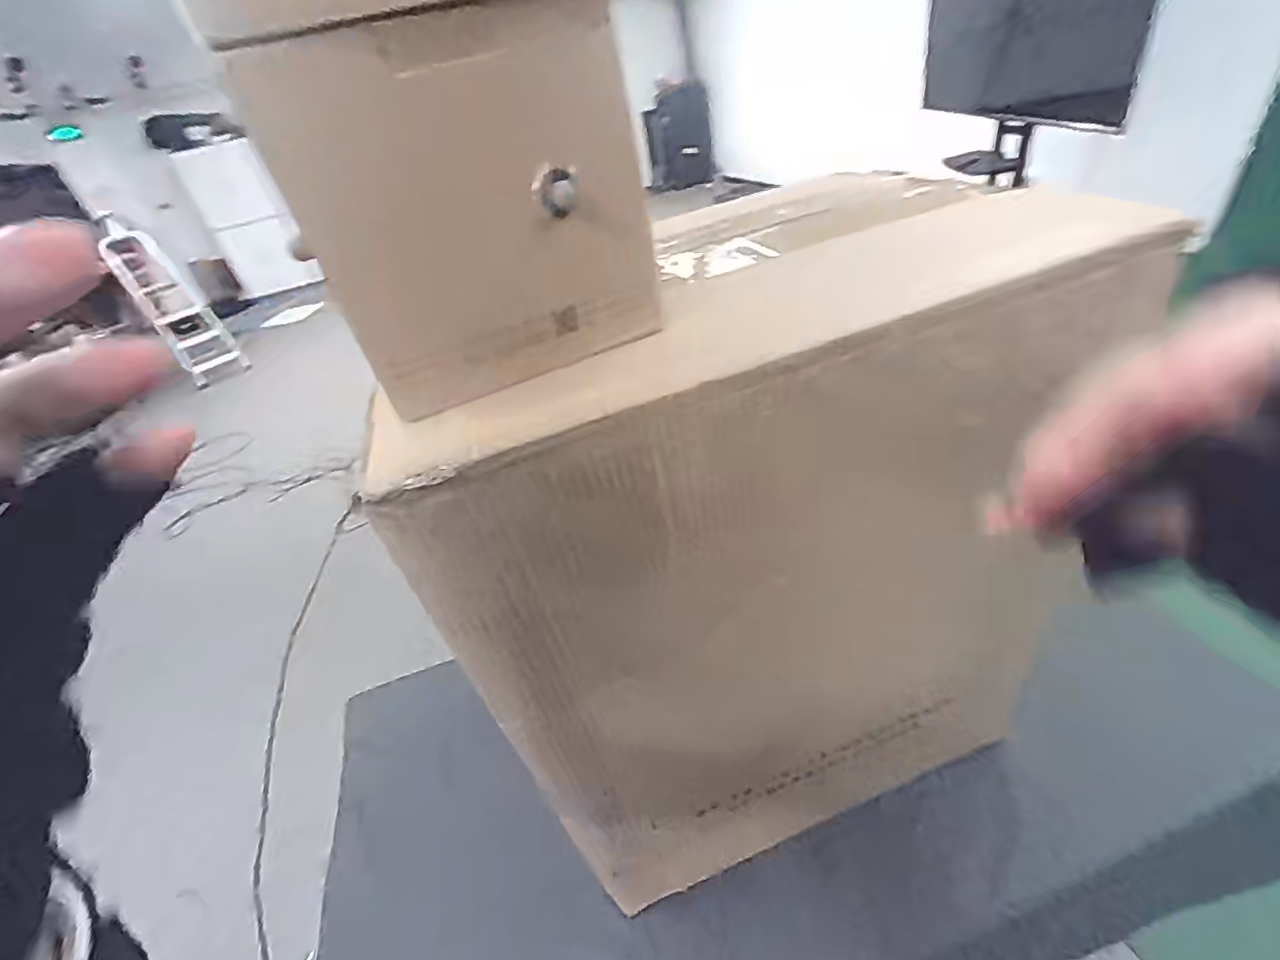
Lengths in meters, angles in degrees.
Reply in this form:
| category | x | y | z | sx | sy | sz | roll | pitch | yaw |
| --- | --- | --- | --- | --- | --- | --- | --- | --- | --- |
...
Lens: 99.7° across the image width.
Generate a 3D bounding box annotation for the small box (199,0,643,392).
| category | x | y | z | sx | sy | sz | roll | pitch | yaw |
| --- | --- | --- | --- | --- | --- | --- | --- | --- | --- |
| small box | -0.115 | -0.174 | 0.329 | 0.168 | 0.176 | 0.179 | -27 | 41 | -15 |
